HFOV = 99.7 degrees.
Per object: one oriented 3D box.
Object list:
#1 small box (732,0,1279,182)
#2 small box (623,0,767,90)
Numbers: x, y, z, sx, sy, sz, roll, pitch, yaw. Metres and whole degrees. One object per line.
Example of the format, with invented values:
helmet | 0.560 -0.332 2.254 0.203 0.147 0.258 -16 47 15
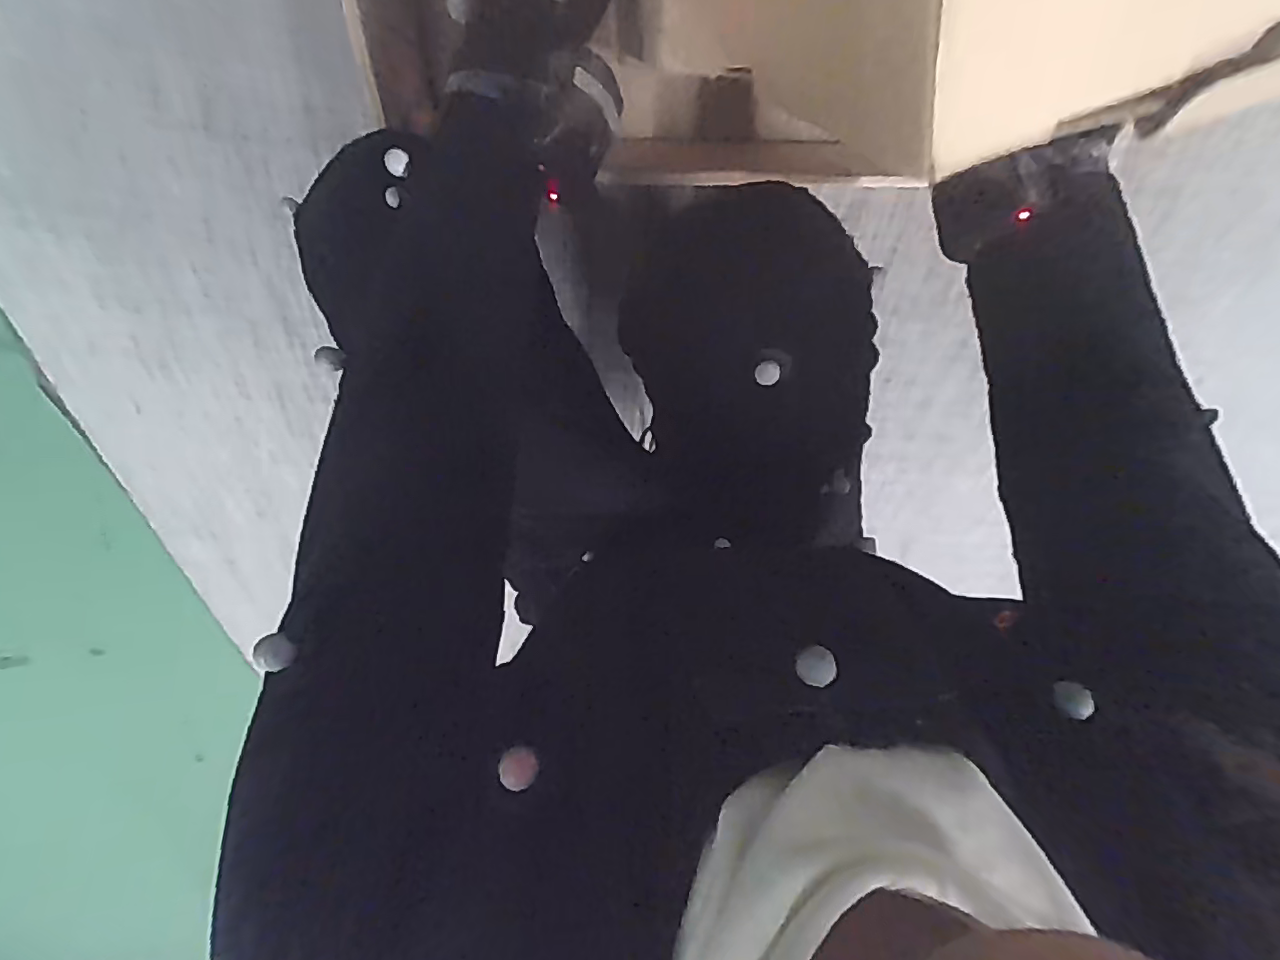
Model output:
small box | 0.111 -0.214 0.138 0.168 0.176 0.179 -16 132 7
small box | 0.079 -0.308 0.267 0.168 0.176 0.179 -3 129 -5
